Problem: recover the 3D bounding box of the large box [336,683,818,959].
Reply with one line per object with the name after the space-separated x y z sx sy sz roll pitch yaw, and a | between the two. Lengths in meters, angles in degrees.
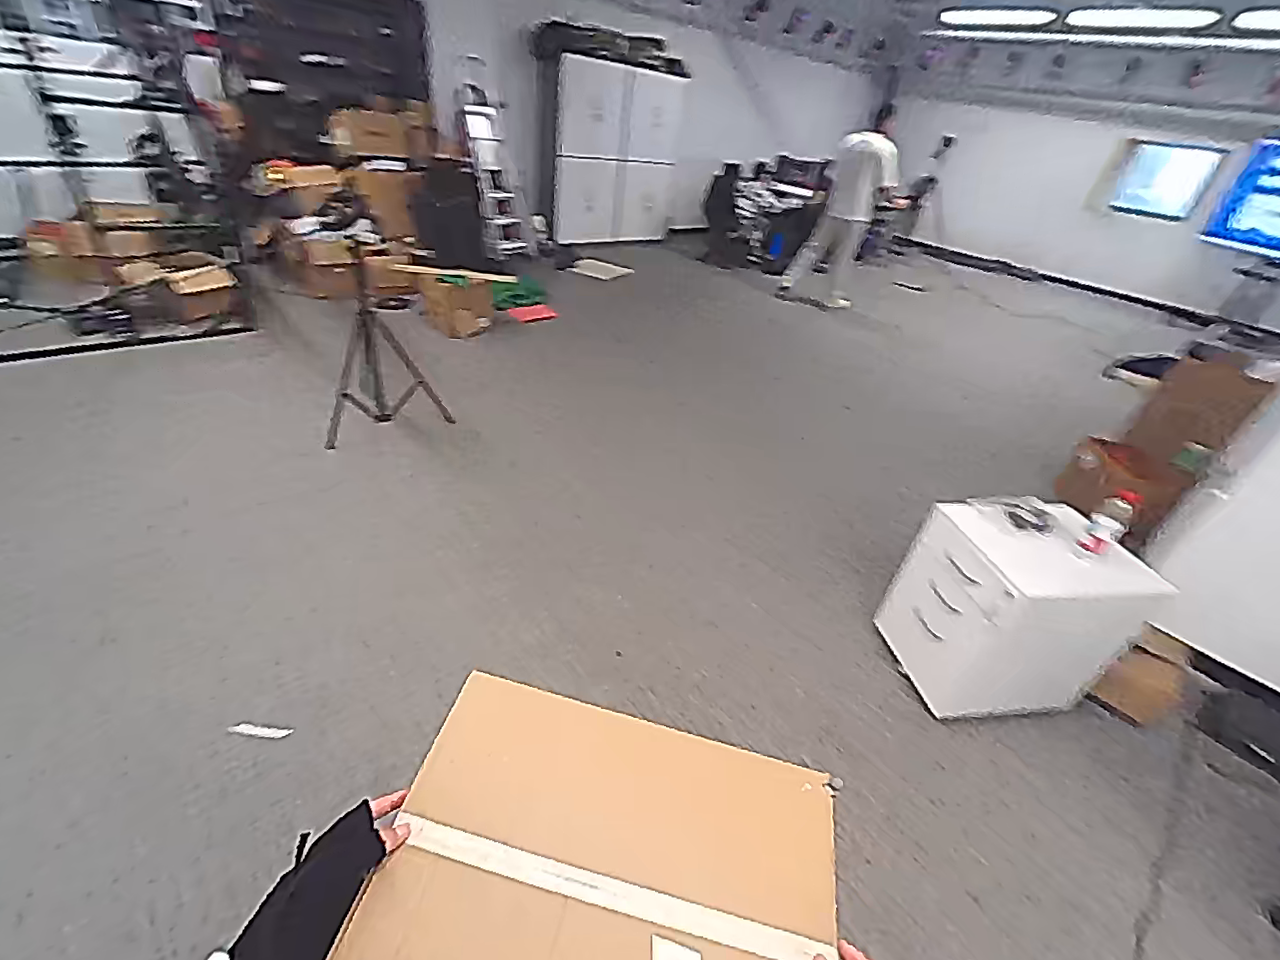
-0.057 0.479 0.588 0.408 0.320 0.320 14 43 3 | large box
